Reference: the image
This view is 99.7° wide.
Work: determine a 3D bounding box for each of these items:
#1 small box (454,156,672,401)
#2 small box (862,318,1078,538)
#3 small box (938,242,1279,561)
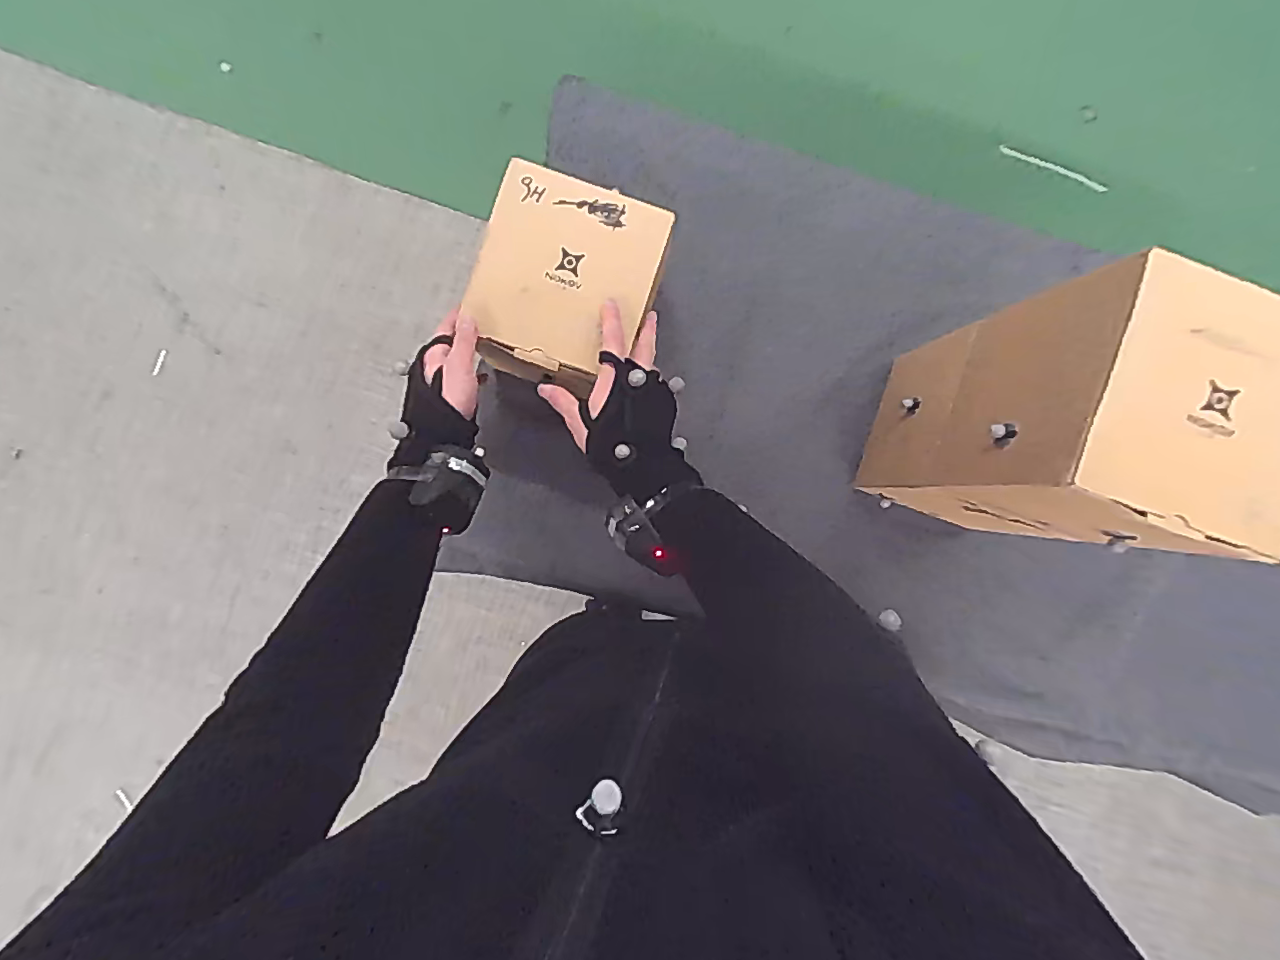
[{"bbox_3d":[-0.075,-0.195,0.585,0.168,0.176,0.179,18,90,-4],"label":"small box"},{"bbox_3d":[0.376,-0.049,0.604,0.168,0.176,0.179,19,88,-2],"label":"small box"},{"bbox_3d":[0.382,-0.051,0.442,0.168,0.176,0.179,19,88,-4],"label":"small box"}]
